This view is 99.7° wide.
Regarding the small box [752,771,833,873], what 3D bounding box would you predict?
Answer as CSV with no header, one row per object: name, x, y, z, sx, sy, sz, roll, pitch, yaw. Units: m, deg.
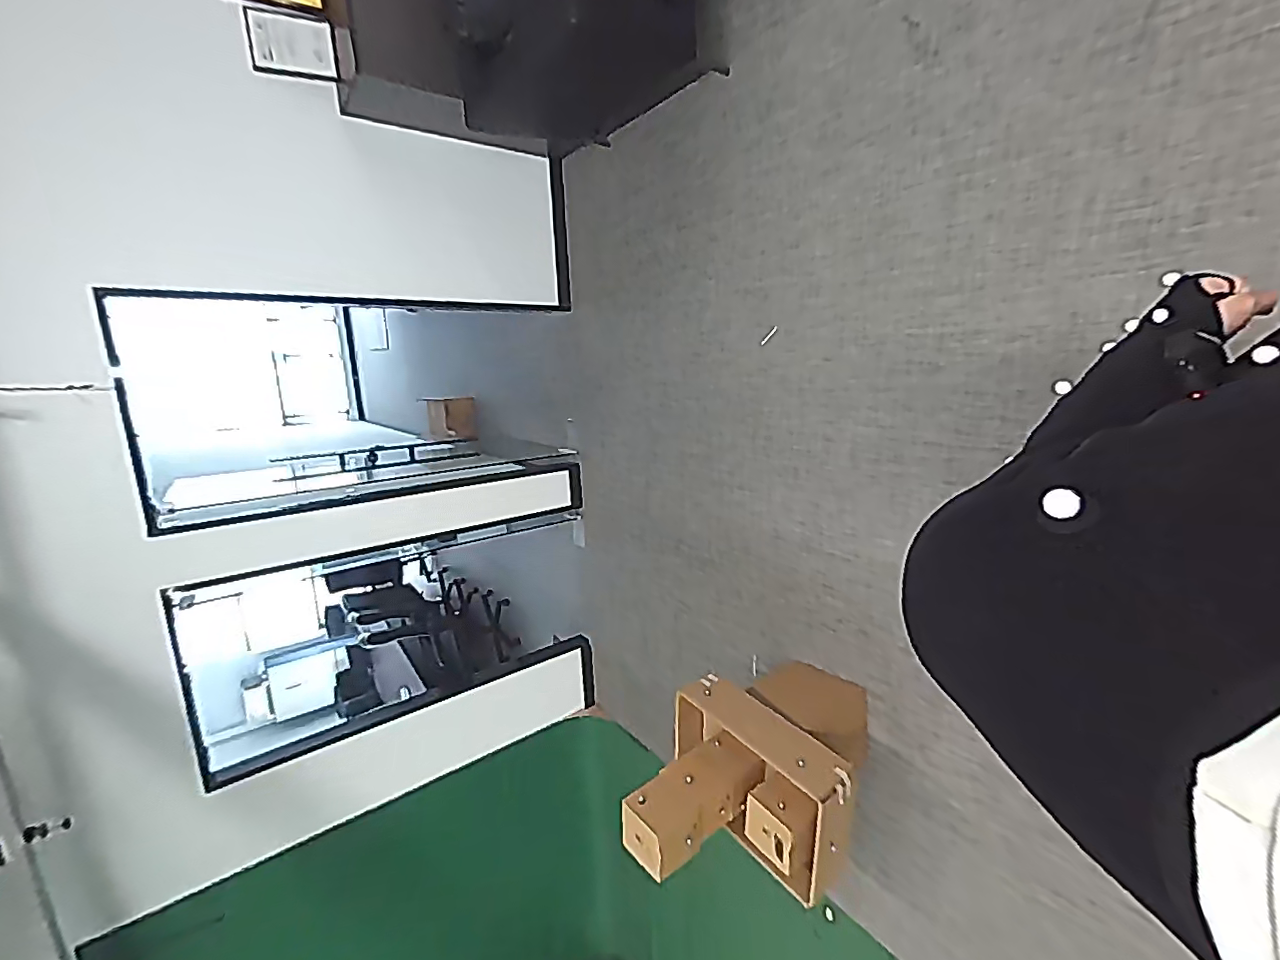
small box,0.472,1.045,1.673,0.179,0.176,0.168,21,115,53

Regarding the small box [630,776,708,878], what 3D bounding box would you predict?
small box,0.086,1.047,1.654,0.179,0.176,0.168,14,111,49

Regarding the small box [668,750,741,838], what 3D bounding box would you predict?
small box,0.206,1.018,1.764,0.179,0.176,0.168,17,112,49
